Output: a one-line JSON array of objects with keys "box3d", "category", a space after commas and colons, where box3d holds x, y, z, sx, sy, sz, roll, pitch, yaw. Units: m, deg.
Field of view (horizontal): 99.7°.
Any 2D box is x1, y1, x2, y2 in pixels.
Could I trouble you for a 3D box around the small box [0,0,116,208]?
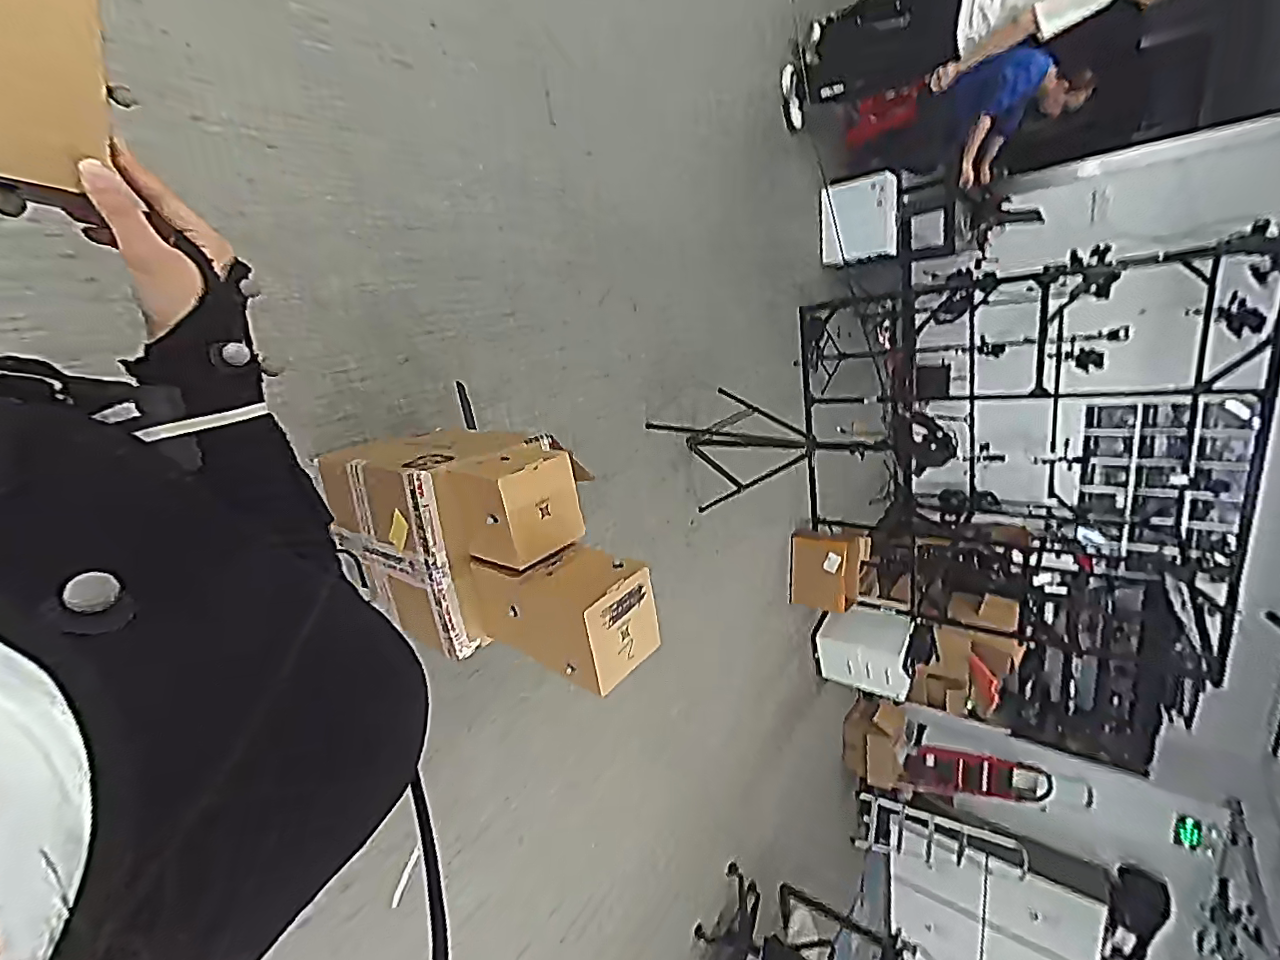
[{"box3d": [-0.423, -0.264, 0.302, 0.179, 0.176, 0.168, -4, 108, -44], "category": "small box"}]
